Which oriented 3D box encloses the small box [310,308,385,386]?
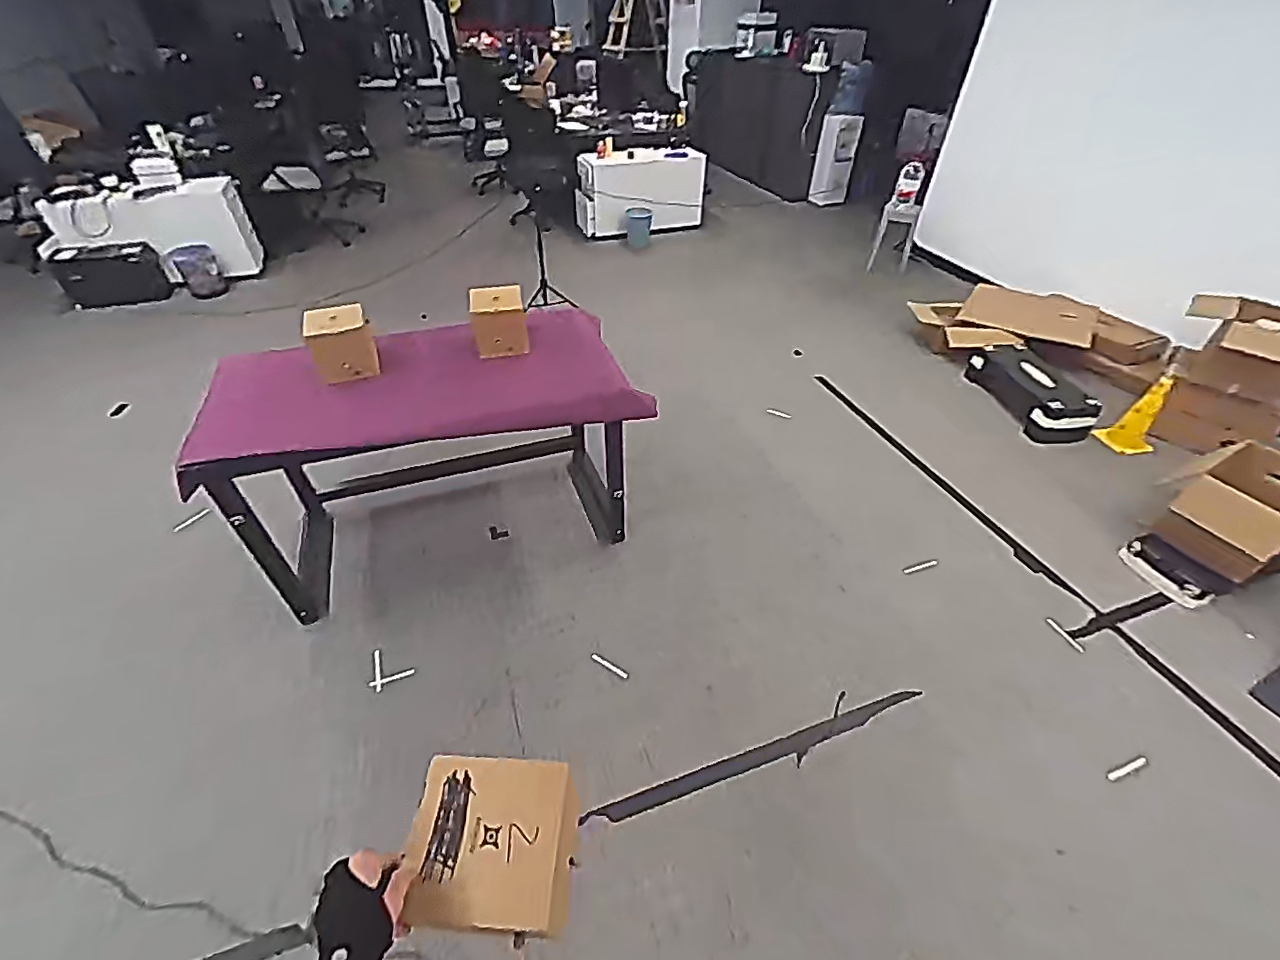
[{"bbox_3d":[-0.920,-0.421,1.711,0.168,0.176,0.179,-15,45,-17],"label":"small box"}]

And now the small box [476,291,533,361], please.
[{"bbox_3d":[-0.460,-0.524,1.838,0.168,0.176,0.179,-9,44,-10],"label":"small box"}]
